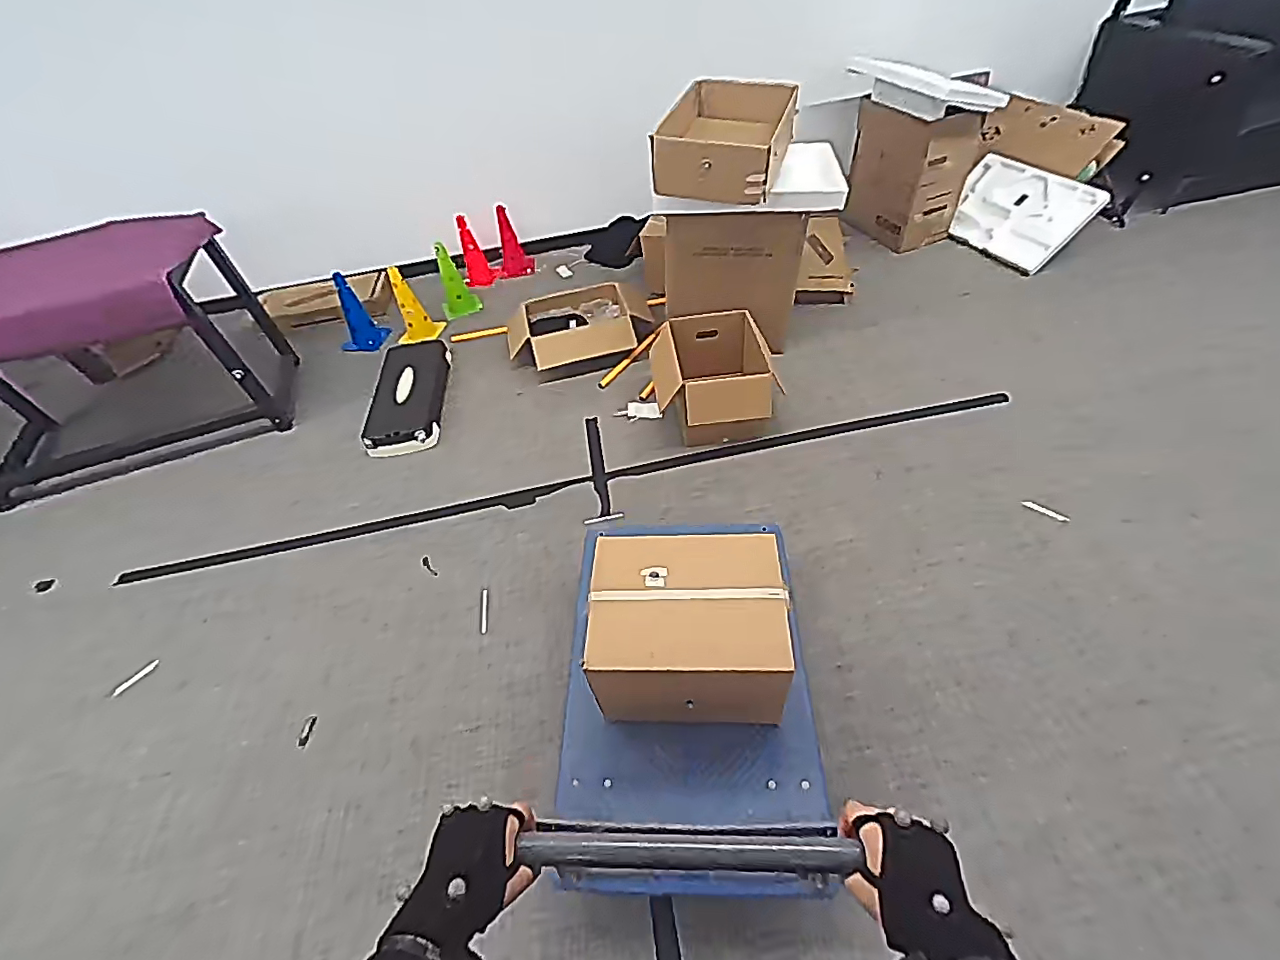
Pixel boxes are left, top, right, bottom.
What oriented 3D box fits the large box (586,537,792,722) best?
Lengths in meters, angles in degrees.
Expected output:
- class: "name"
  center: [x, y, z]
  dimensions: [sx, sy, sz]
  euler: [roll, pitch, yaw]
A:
- class: "large box"
  center: [0.112, 0.352, 1.245]
  dimensions: [0.408, 0.320, 0.320]
  euler: [-3, 48, 6]
